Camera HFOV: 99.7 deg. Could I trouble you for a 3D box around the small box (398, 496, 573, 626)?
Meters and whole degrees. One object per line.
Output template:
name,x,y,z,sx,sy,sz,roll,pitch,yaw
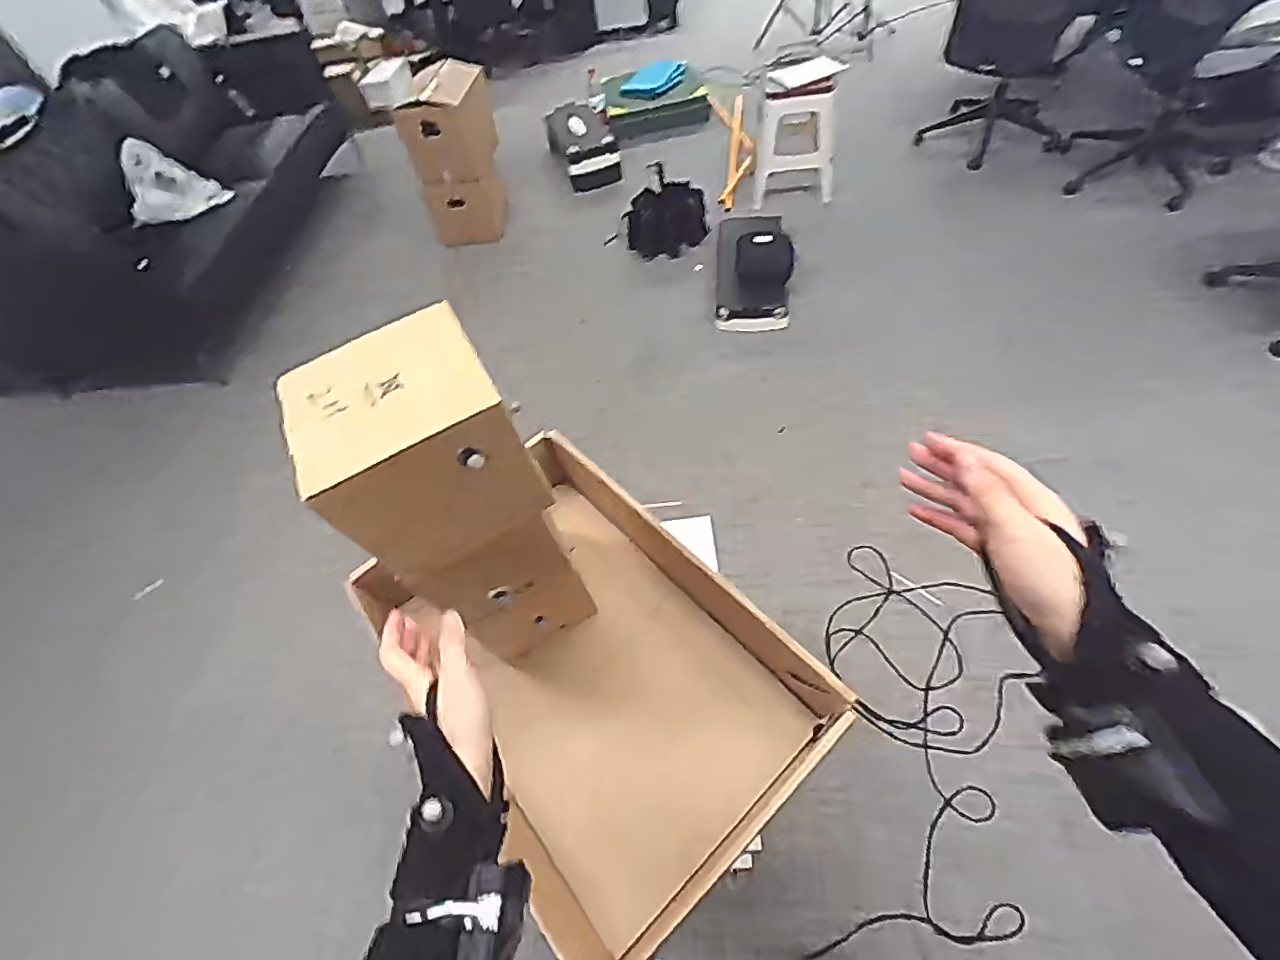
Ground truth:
small box,-0.206,0.058,0.699,0.168,0.176,0.179,-27,56,-7

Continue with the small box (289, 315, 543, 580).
small box,-0.216,-0.029,0.558,0.179,0.176,0.168,-29,55,-9
